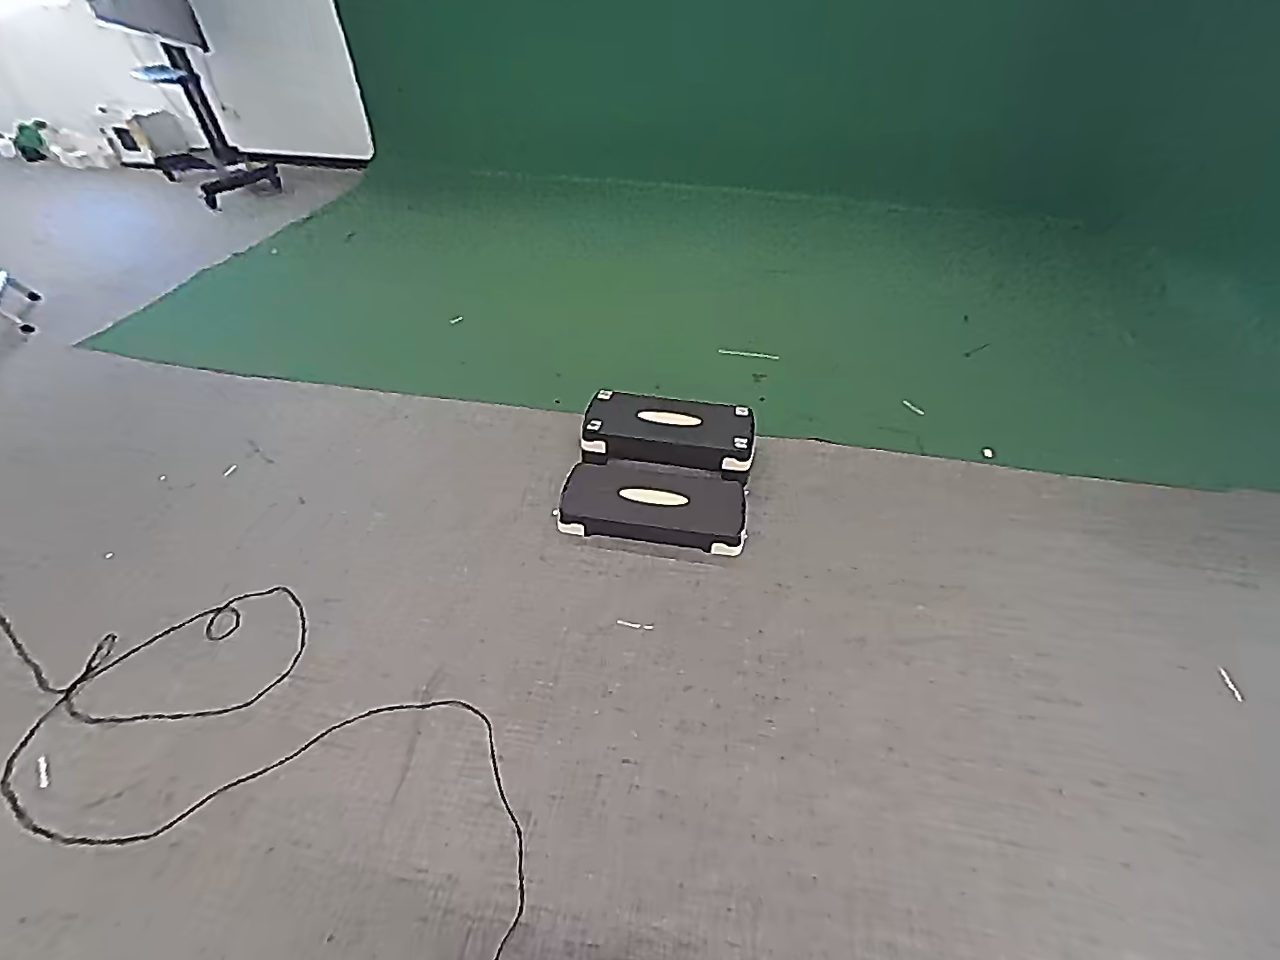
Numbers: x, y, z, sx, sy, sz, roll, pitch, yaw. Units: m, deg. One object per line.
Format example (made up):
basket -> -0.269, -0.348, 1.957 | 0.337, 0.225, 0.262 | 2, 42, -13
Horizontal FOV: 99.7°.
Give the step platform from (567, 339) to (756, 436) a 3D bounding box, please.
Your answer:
step platform -> 0.079, -0.352, 2.048 | 0.684, 0.204, 0.286 | 7, 46, 6
